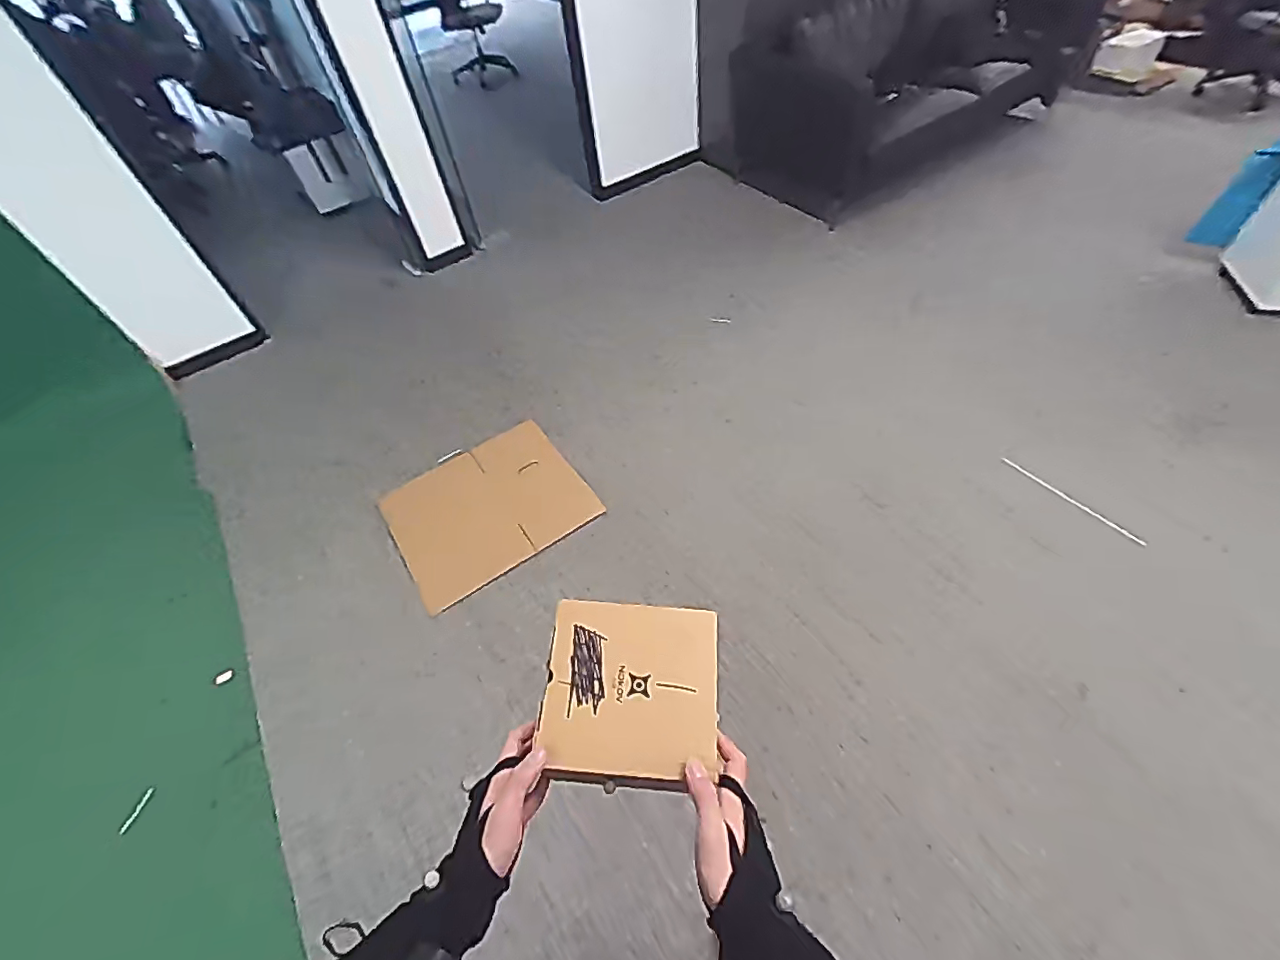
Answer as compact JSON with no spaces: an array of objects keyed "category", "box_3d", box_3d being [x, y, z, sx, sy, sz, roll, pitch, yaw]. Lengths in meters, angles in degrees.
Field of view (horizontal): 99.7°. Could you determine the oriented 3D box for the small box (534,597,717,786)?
[{"category":"small box","box_3d":[-0.009,0.245,0.615,0.179,0.176,0.168,4,57,2]}]
